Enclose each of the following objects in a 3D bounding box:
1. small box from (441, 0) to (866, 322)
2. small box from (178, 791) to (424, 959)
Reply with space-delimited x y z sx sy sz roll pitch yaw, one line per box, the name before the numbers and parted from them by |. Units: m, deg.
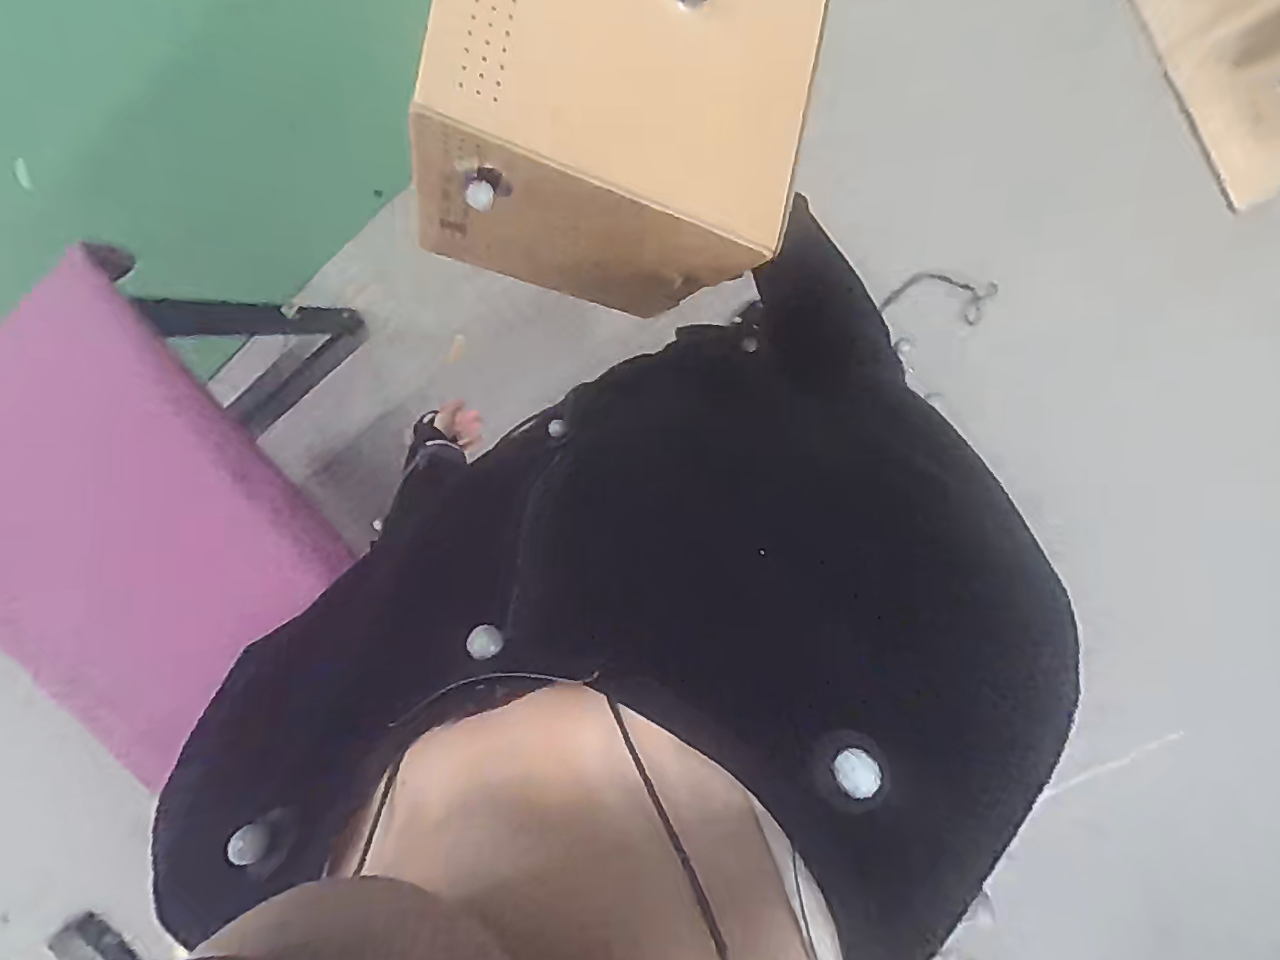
small box | -0.007 -0.209 0.298 0.176 0.168 0.179 10 91 -24
small box | -0.421 0.556 0.702 0.179 0.176 0.168 -38 99 14
